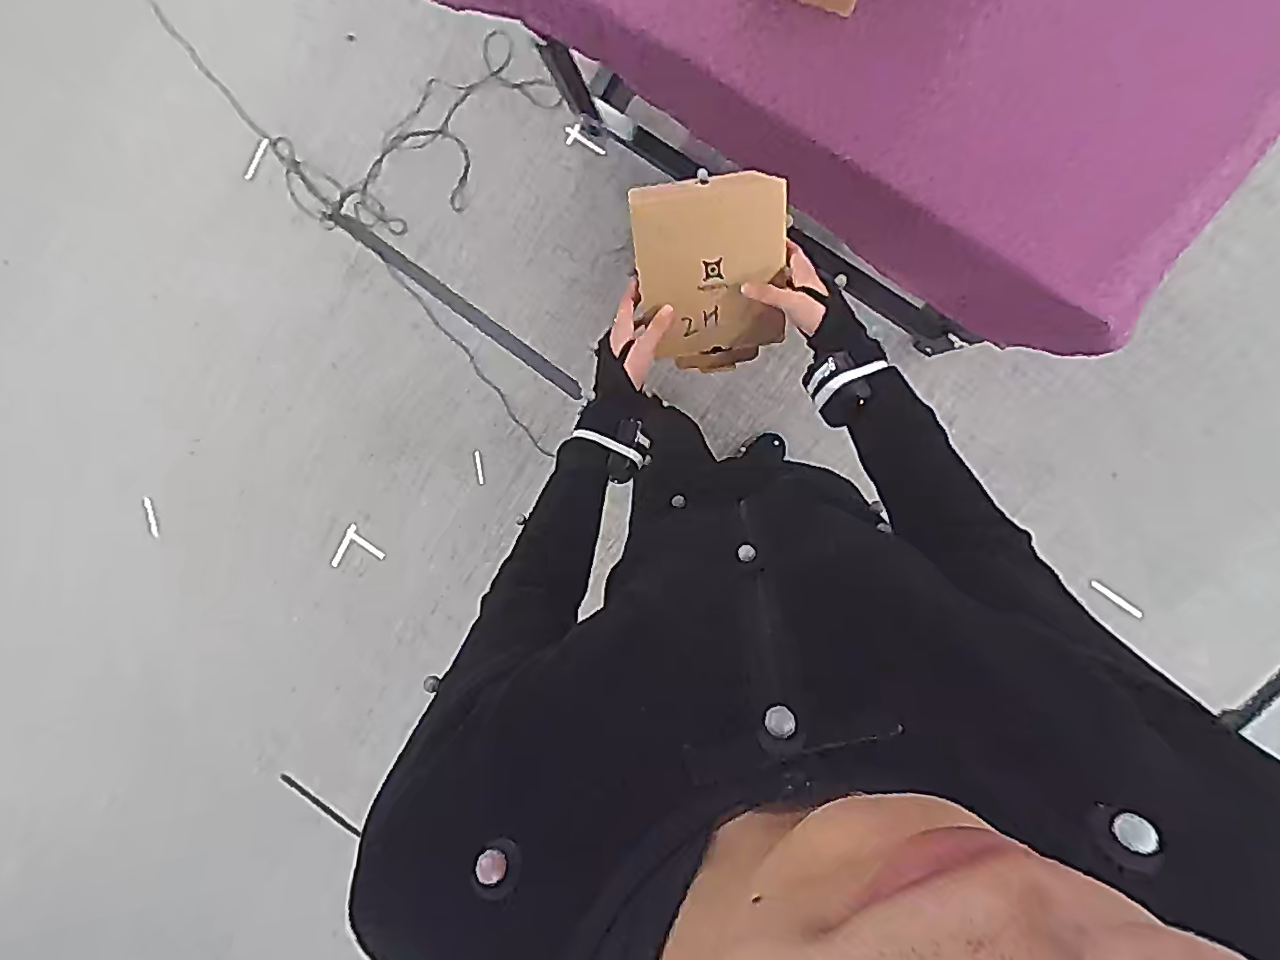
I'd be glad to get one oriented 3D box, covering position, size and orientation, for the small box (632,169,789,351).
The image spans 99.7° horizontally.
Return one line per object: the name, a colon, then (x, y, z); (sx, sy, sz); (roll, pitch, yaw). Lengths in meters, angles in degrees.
small box: (0.080, -0.276, 0.665); (0.168, 0.176, 0.179); (-6, 122, 4)
